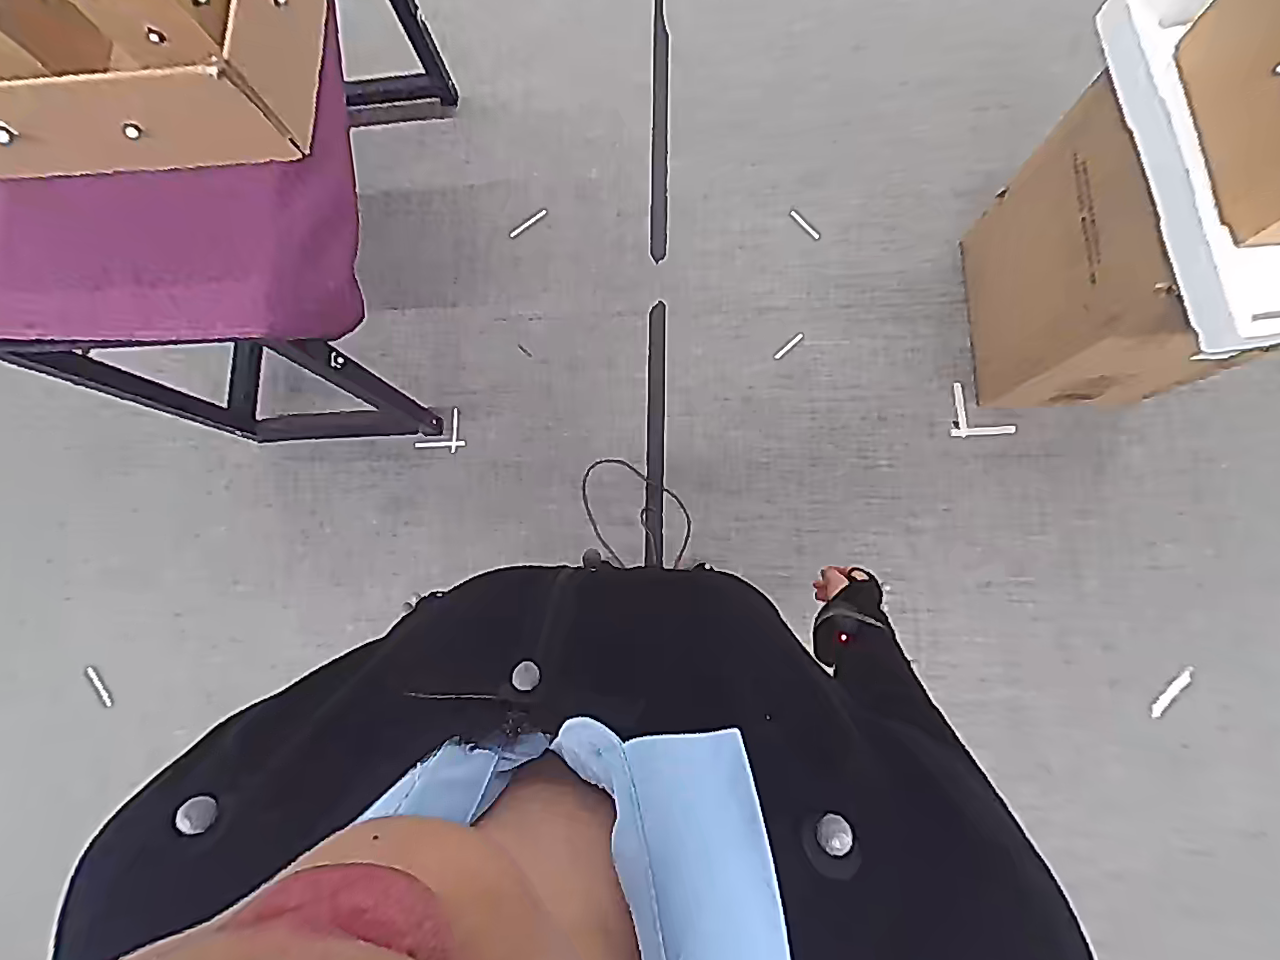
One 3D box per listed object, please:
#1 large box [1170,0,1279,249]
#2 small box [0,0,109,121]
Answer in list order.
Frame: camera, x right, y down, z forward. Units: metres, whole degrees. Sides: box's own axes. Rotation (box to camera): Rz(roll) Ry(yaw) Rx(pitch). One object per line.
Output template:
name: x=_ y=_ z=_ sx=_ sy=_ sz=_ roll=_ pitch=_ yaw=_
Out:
large box: x=1.086 y=-0.607 z=0.763 sx=0.320 sy=0.320 sz=0.408 roll=-5 pitch=78 yaw=3
small box: x=-1.013 y=-0.719 z=0.864 sx=0.168 sy=0.176 sz=0.179 roll=-4 pitch=79 yaw=2
